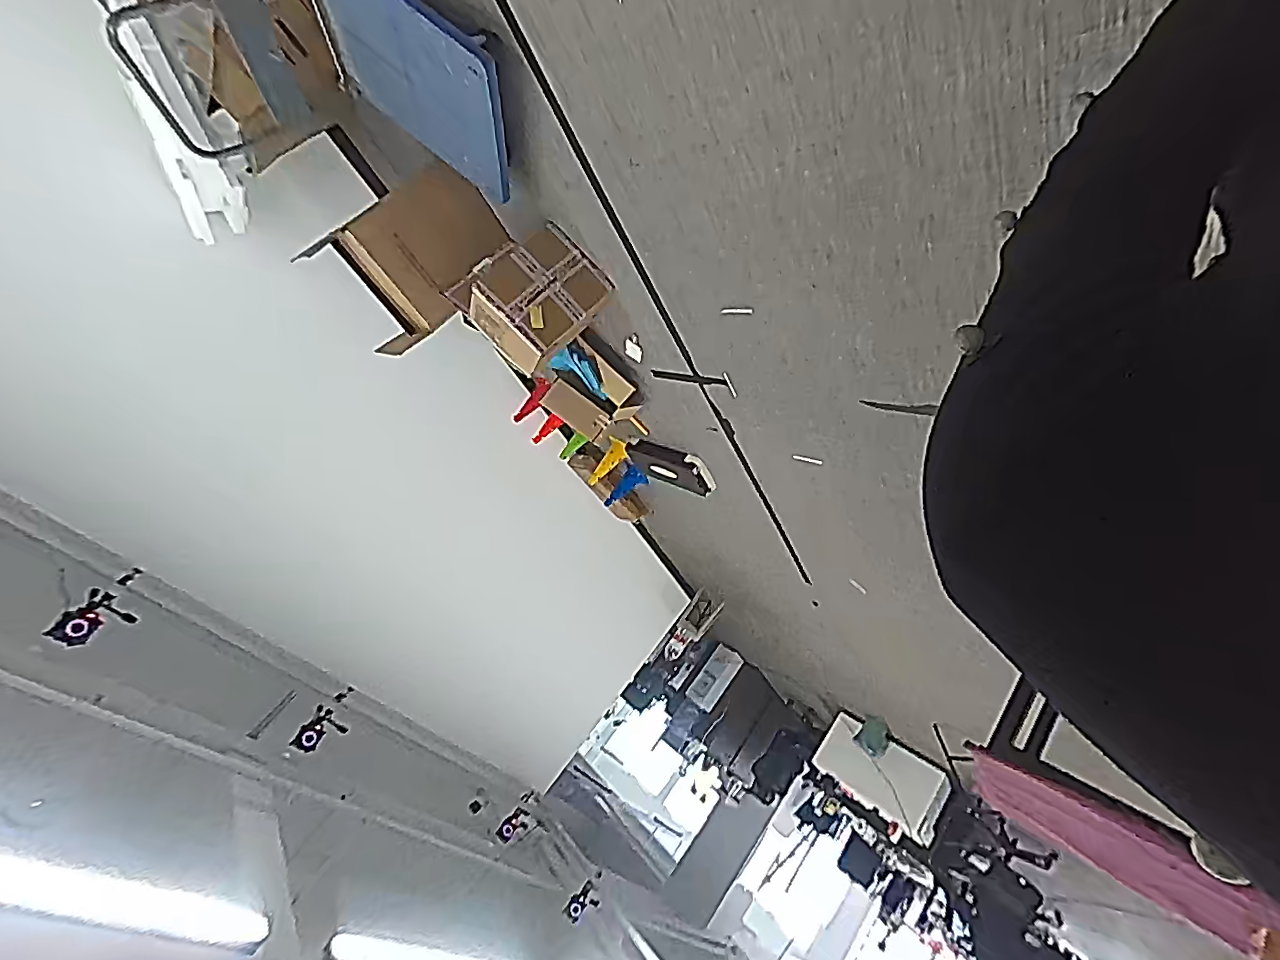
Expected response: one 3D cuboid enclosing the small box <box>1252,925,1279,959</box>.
[{"bbox_3d":[1.562,1.189,1.252,0.179,0.176,0.168,20,154,48],"label":"small box"}]
